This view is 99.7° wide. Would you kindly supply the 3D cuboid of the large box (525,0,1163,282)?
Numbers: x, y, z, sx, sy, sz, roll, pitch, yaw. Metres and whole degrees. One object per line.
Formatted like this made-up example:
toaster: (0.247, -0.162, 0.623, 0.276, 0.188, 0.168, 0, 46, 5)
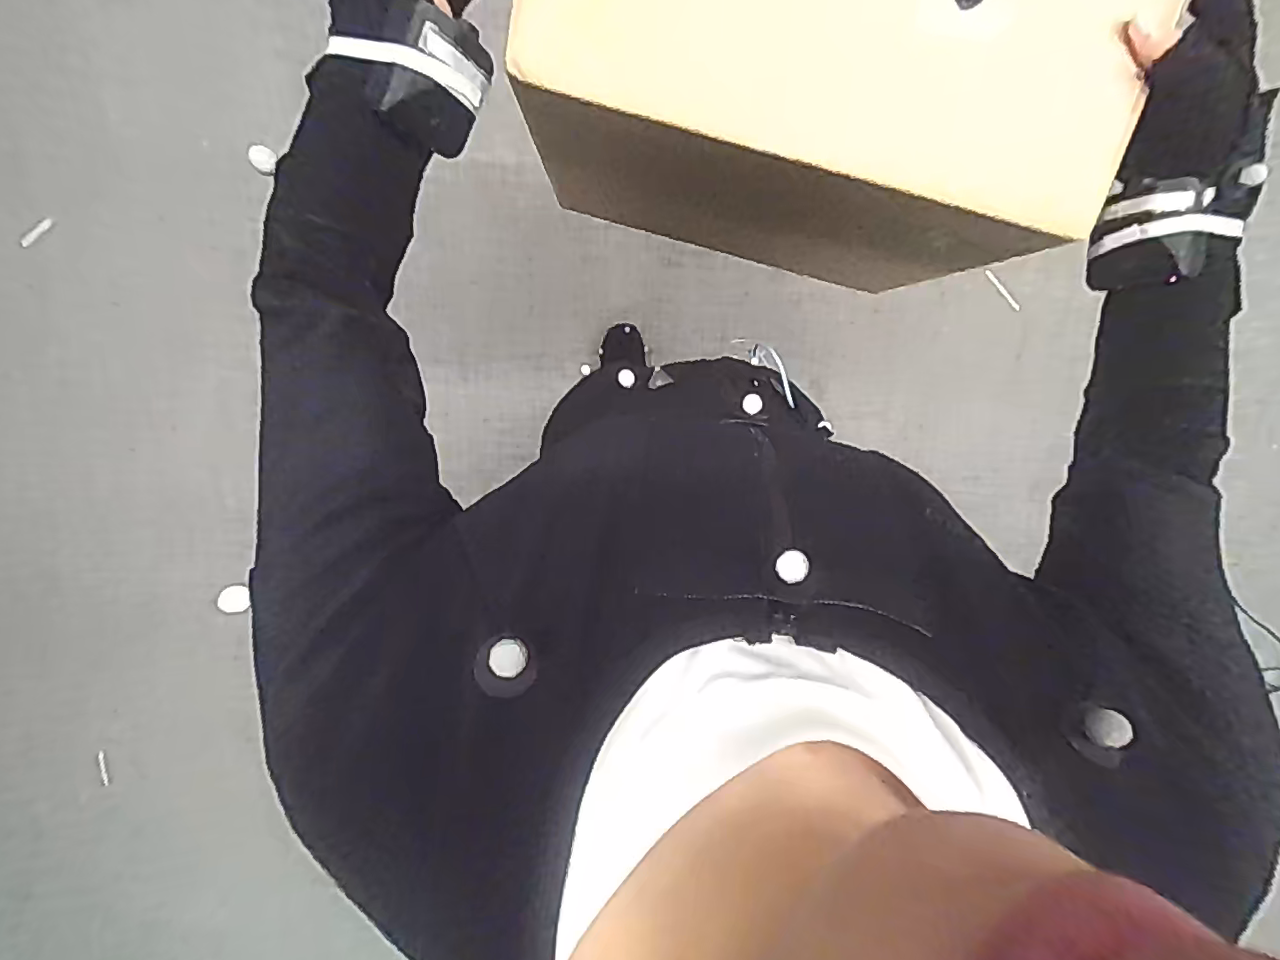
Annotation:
large box: (0.141, -0.398, 0.478, 0.408, 0.320, 0.320, 13, 102, -6)
